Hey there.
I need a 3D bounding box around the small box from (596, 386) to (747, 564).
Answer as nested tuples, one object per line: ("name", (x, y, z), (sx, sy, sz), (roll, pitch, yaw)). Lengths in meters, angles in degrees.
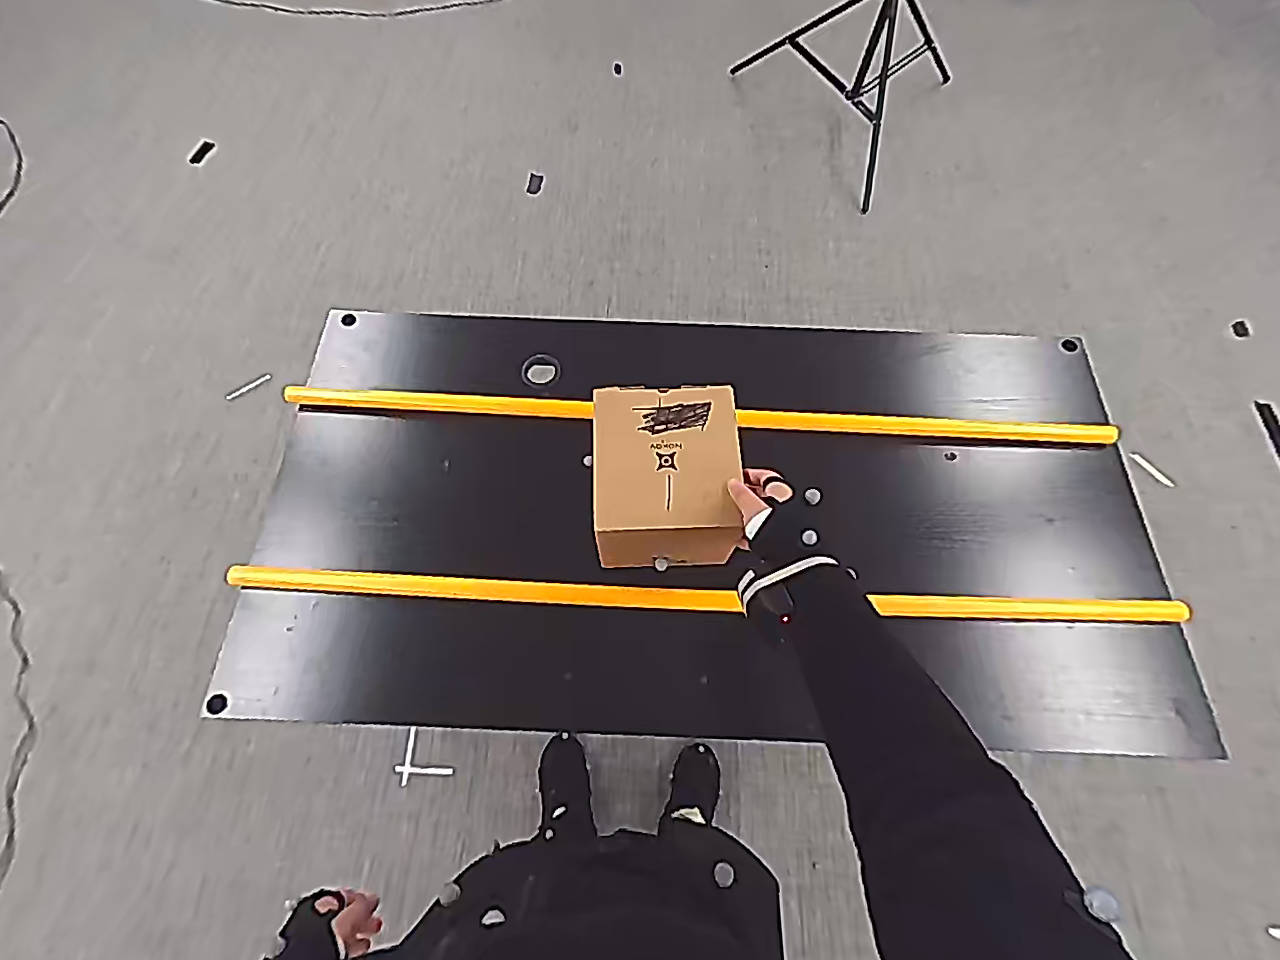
("small box", (0.031, 0.000, 0.683), (0.168, 0.176, 0.179), (-2, 68, -1))
